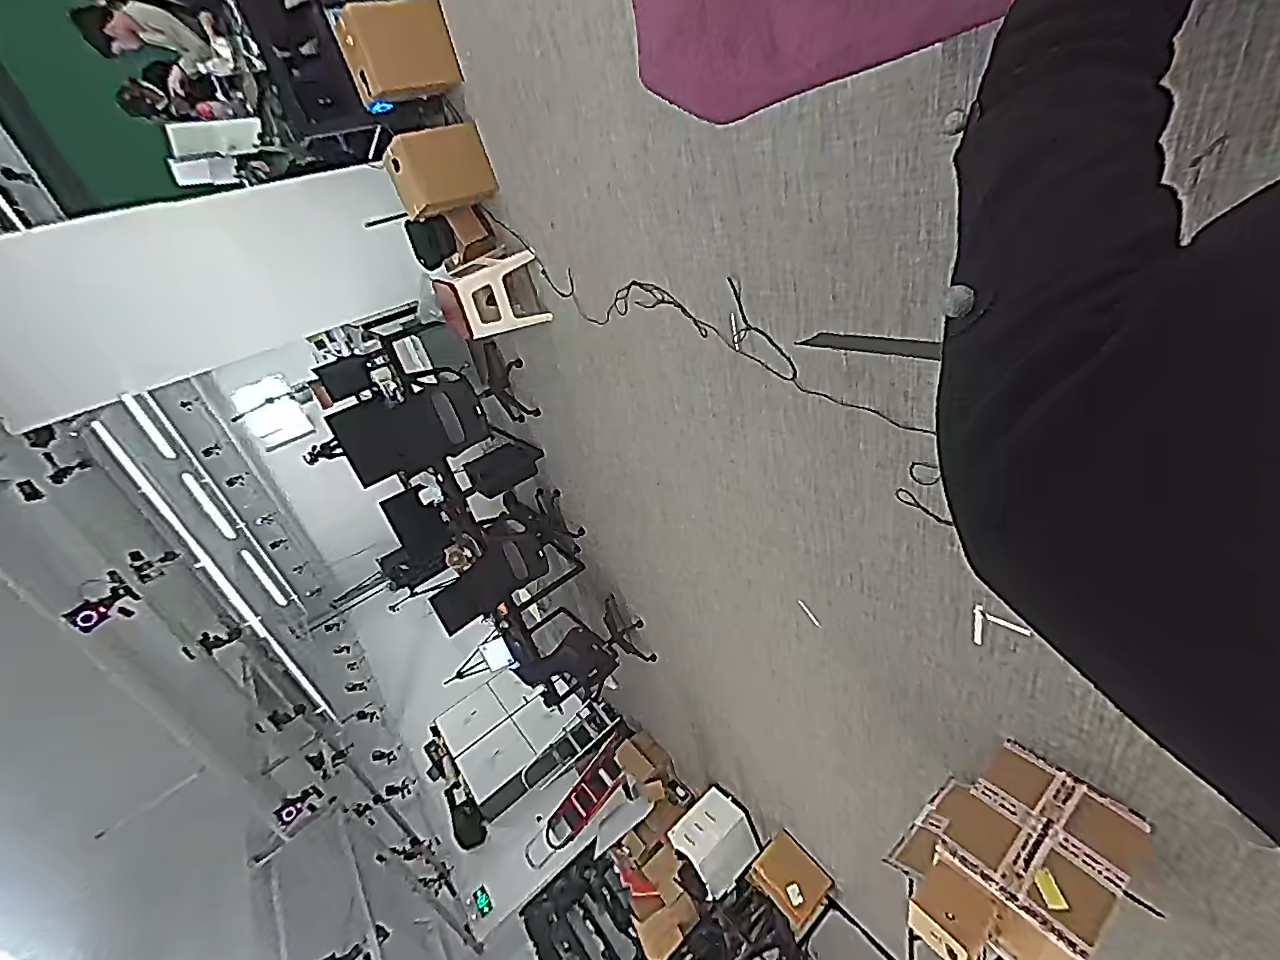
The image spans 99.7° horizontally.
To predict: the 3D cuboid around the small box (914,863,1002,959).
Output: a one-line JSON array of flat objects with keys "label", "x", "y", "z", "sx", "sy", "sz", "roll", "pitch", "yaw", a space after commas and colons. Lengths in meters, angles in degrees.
[{"label": "small box", "x": 0.955, "y": 1.314, "z": 1.627, "sx": 0.179, "sy": 0.176, "sz": 0.168, "roll": 26, "pitch": 137, "yaw": 51}]
